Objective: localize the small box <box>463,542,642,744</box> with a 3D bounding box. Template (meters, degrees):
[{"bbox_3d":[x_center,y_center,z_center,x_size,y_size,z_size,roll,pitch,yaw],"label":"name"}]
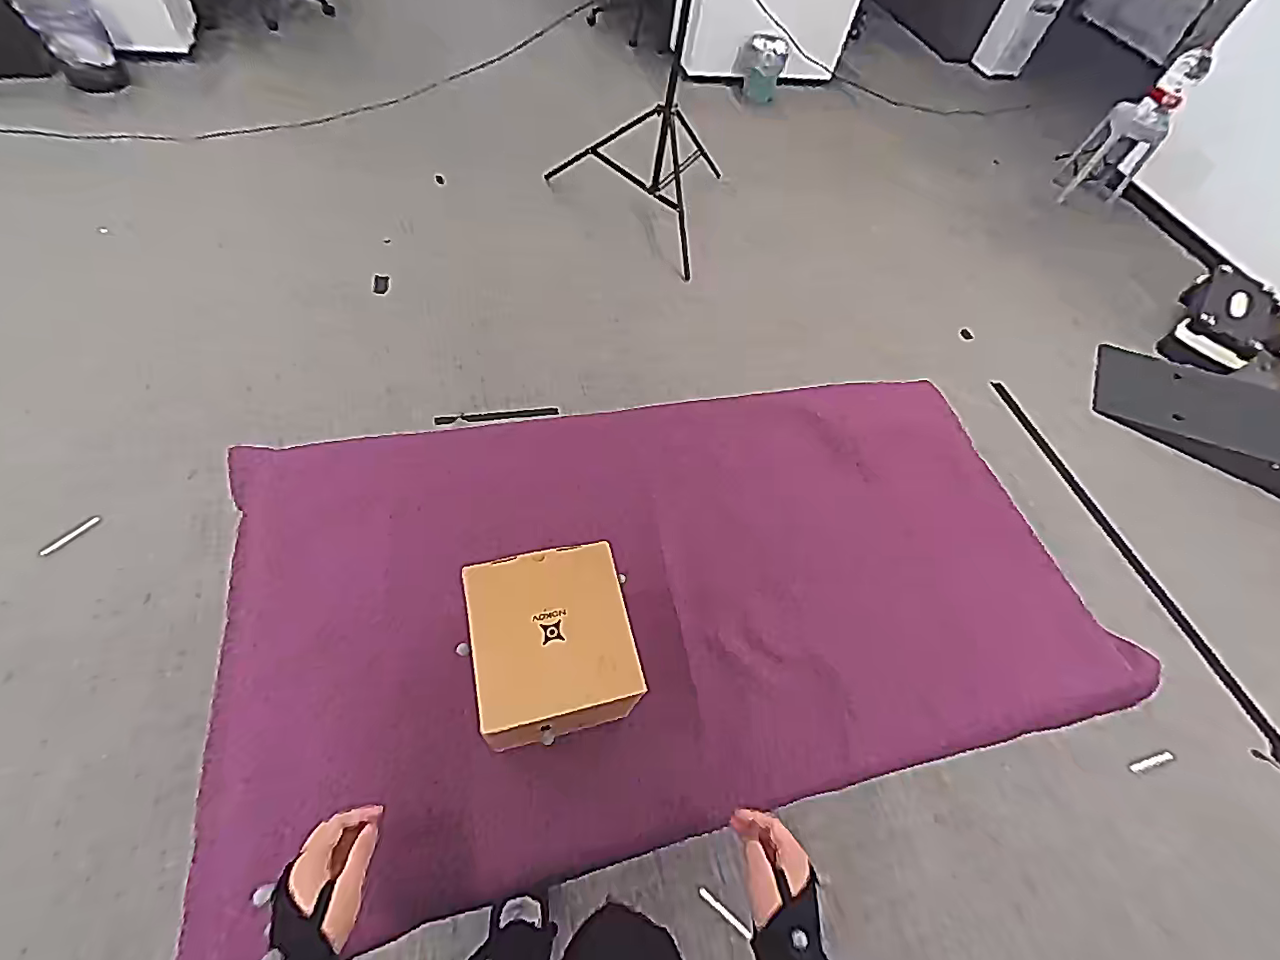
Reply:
[{"bbox_3d":[-0.105,0.199,0.640,0.168,0.176,0.179,-10,60,-15],"label":"small box"}]
